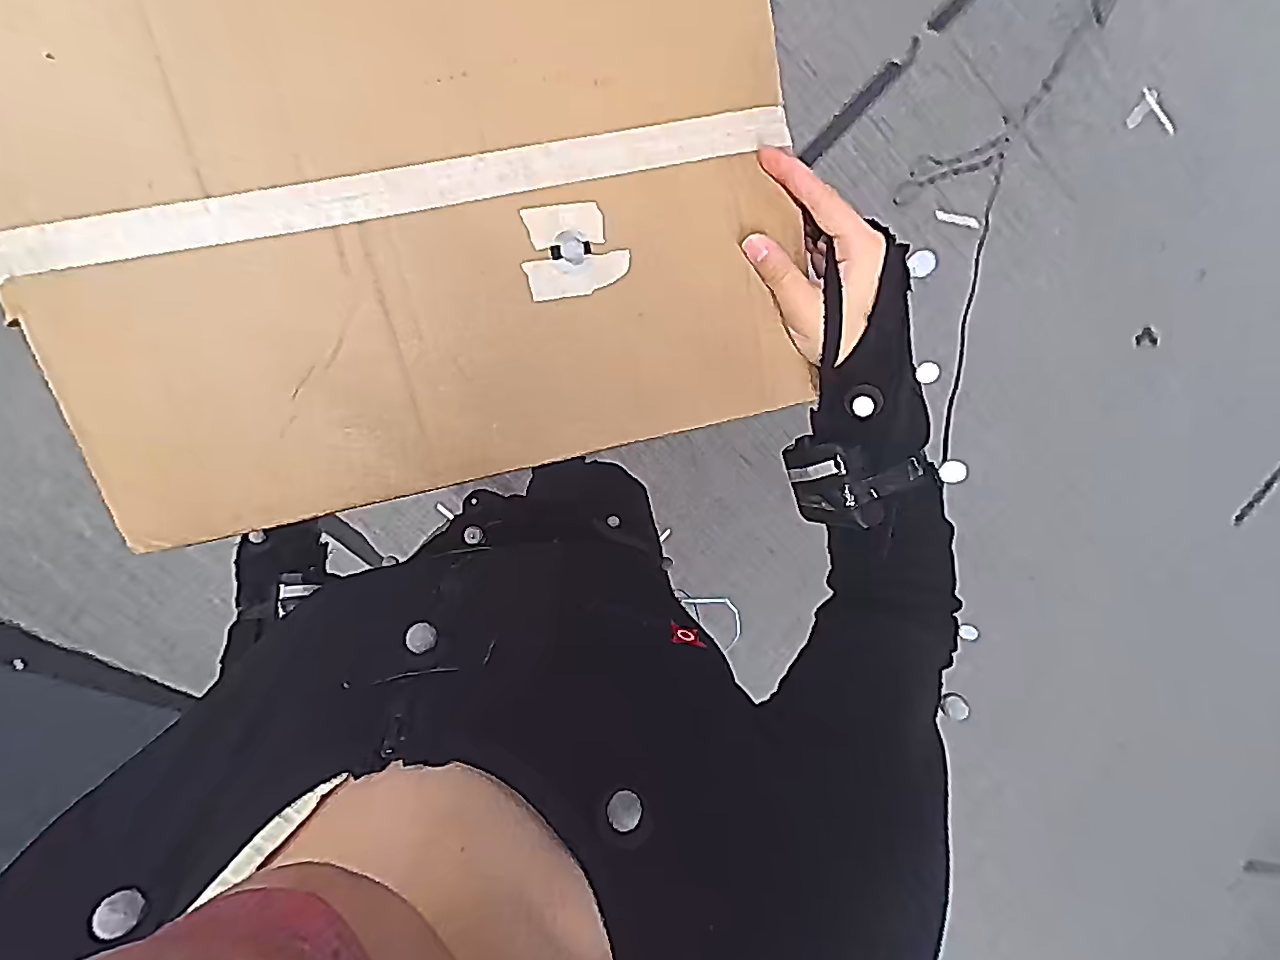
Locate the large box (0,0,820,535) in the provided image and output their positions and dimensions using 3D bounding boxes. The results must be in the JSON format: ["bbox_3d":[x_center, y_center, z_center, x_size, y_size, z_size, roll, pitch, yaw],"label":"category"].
[{"bbox_3d":[-0.129,-0.186,0.439,0.408,0.320,0.320,-13,104,-8],"label":"large box"}]
